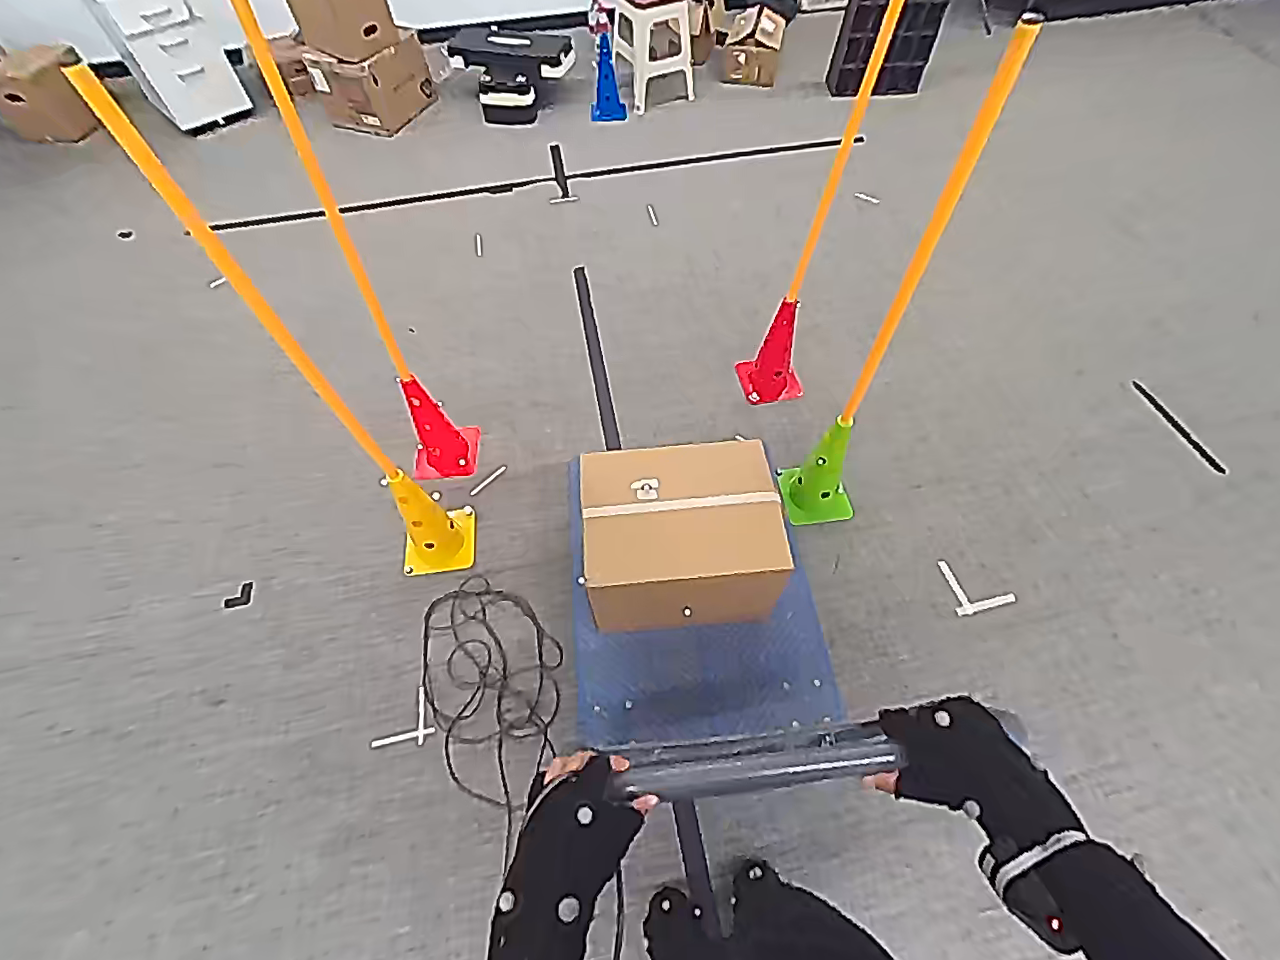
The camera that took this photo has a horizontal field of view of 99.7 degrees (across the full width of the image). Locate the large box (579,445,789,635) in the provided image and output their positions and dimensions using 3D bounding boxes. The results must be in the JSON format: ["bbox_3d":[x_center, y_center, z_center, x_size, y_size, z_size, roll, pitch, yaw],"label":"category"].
[{"bbox_3d":[0.084,0.148,1.240,0.408,0.320,0.320,-5,57,-1],"label":"large box"}]

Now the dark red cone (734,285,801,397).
[{"bbox_3d":[0.450,-0.462,1.777,0.201,0.394,0.202,-9,58,-7],"label":"dark red cone"}]

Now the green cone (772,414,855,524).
[{"bbox_3d":[0.525,-0.052,1.529,0.202,0.368,0.200,-6,57,-4],"label":"green cone"}]

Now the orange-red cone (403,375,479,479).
[{"bbox_3d":[-0.640,-0.181,1.647,0.198,0.360,0.199,-3,56,-2],"label":"orange-red cone"}]
